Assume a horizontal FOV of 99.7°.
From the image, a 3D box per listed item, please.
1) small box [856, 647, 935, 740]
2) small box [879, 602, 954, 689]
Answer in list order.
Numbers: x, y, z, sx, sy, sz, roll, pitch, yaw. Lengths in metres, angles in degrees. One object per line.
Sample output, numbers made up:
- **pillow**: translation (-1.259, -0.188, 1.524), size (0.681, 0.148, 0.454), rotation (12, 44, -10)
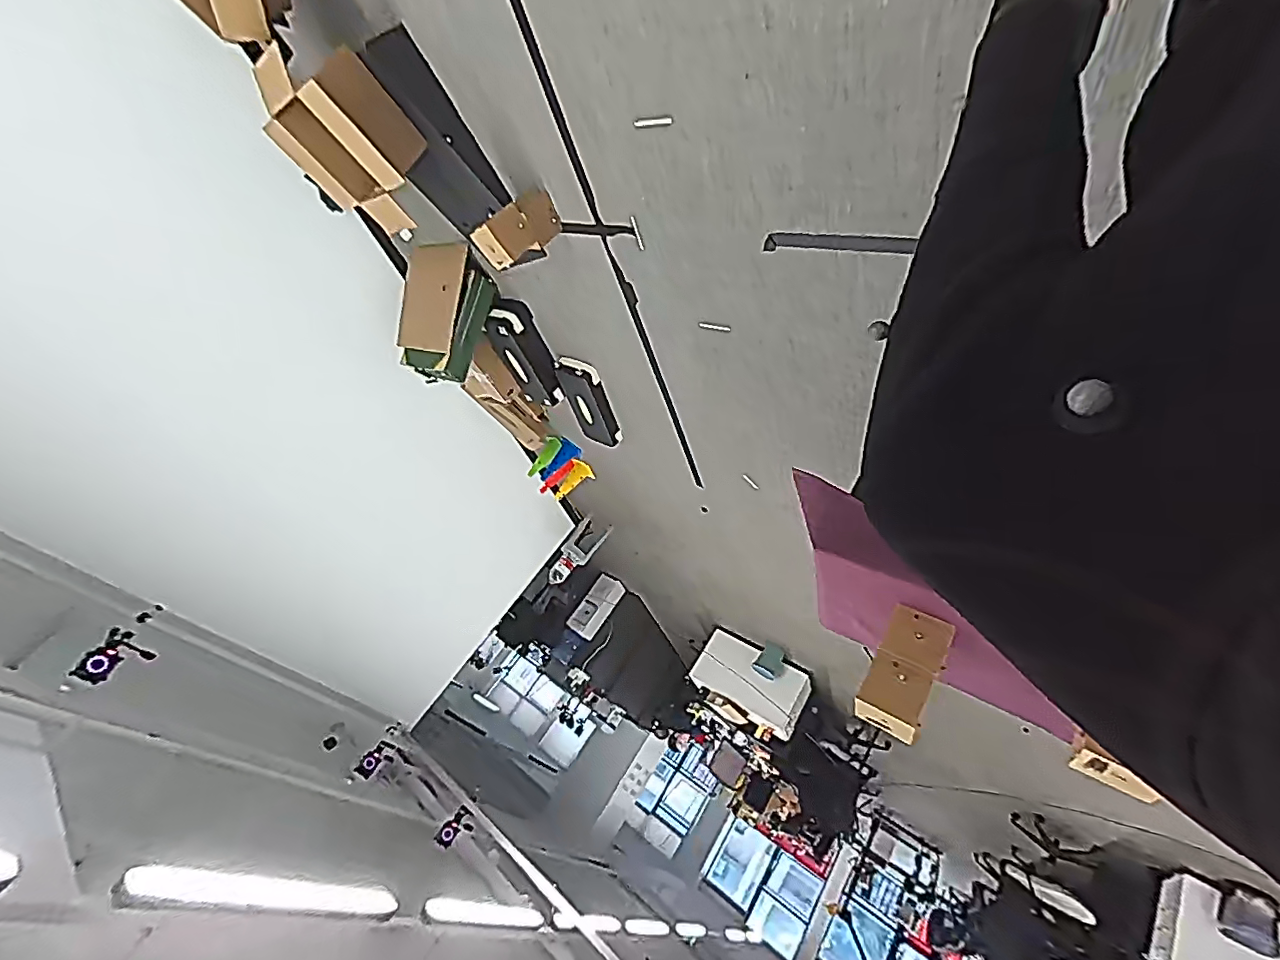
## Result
- **small box**: translation (0.757, 0.631, 1.607), size (0.168, 0.176, 0.179), rotation (21, 152, 34)
- **small box**: translation (0.847, 0.505, 1.663), size (0.168, 0.176, 0.179), rotation (21, 153, 34)
